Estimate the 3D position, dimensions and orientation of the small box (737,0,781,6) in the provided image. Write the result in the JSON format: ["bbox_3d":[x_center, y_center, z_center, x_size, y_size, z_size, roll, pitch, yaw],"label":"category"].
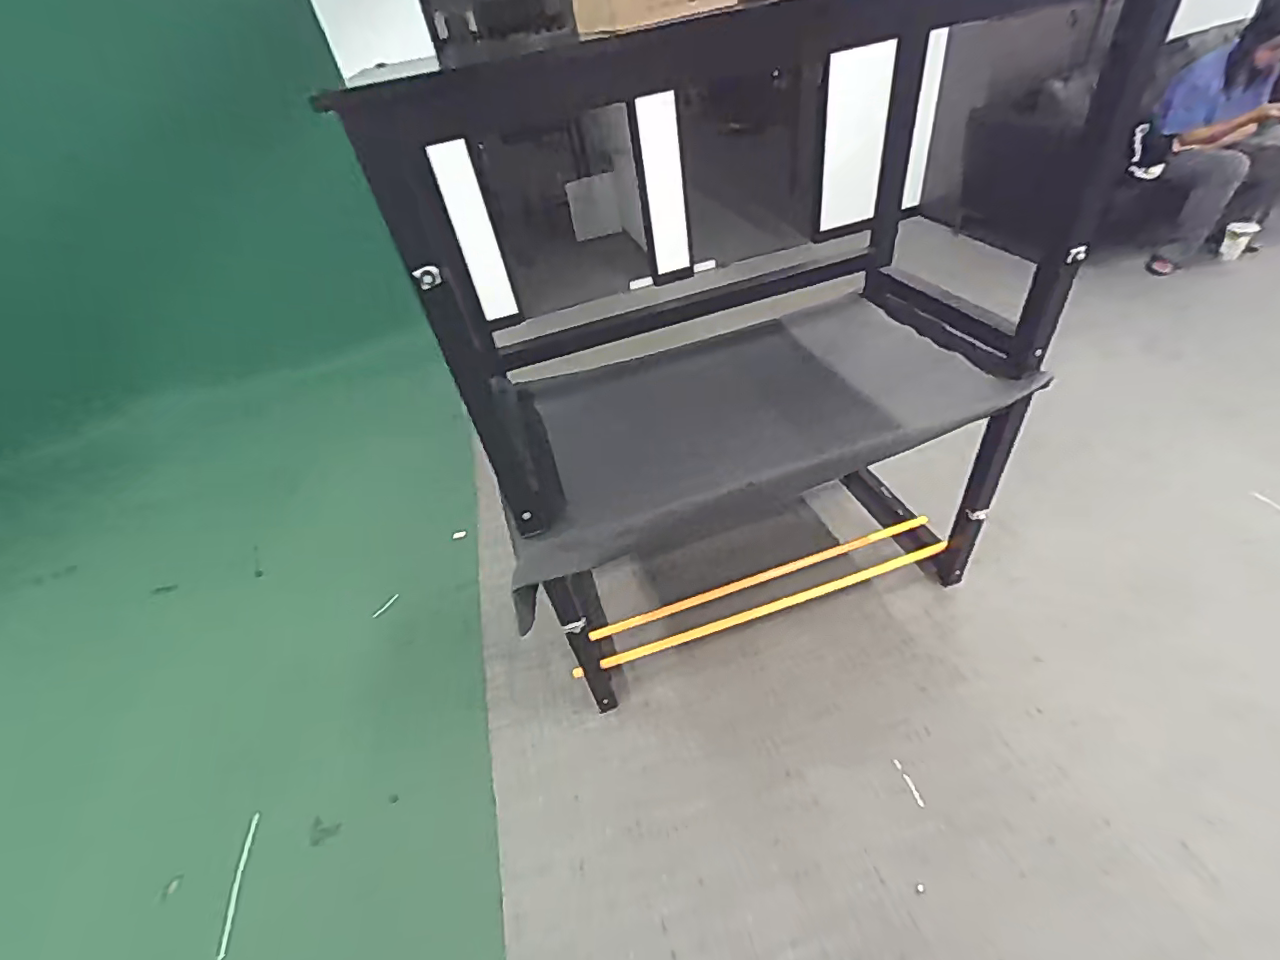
[{"bbox_3d":[0.229,-0.764,0.729,0.168,0.176,0.179,-16,41,-5],"label":"small box"}]
